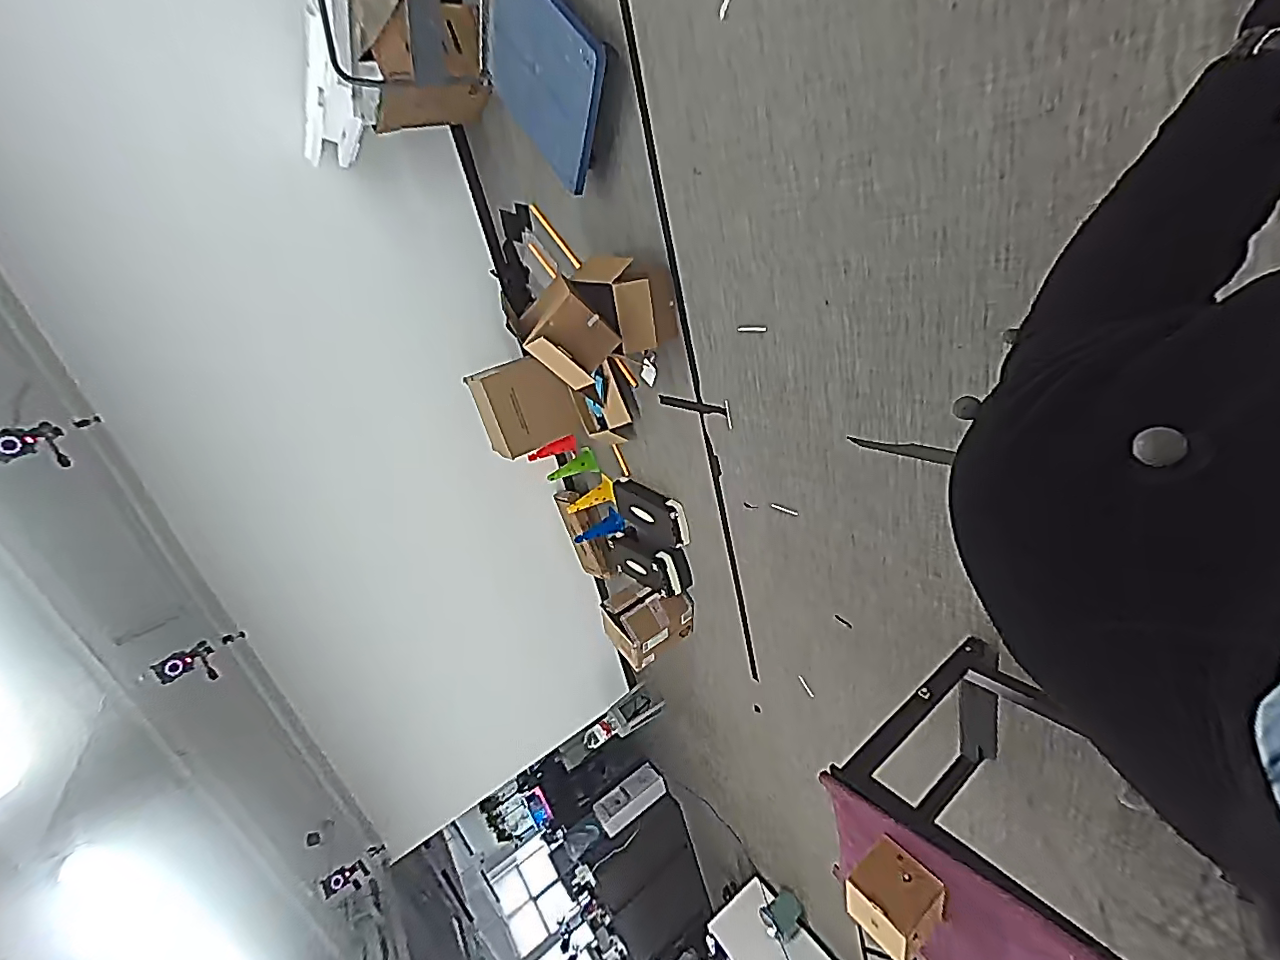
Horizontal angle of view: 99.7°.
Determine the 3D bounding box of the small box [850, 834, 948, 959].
[{"bbox_3d":[0.660,1.066,1.381,0.168,0.176,0.179,26,137,51],"label":"small box"}]
